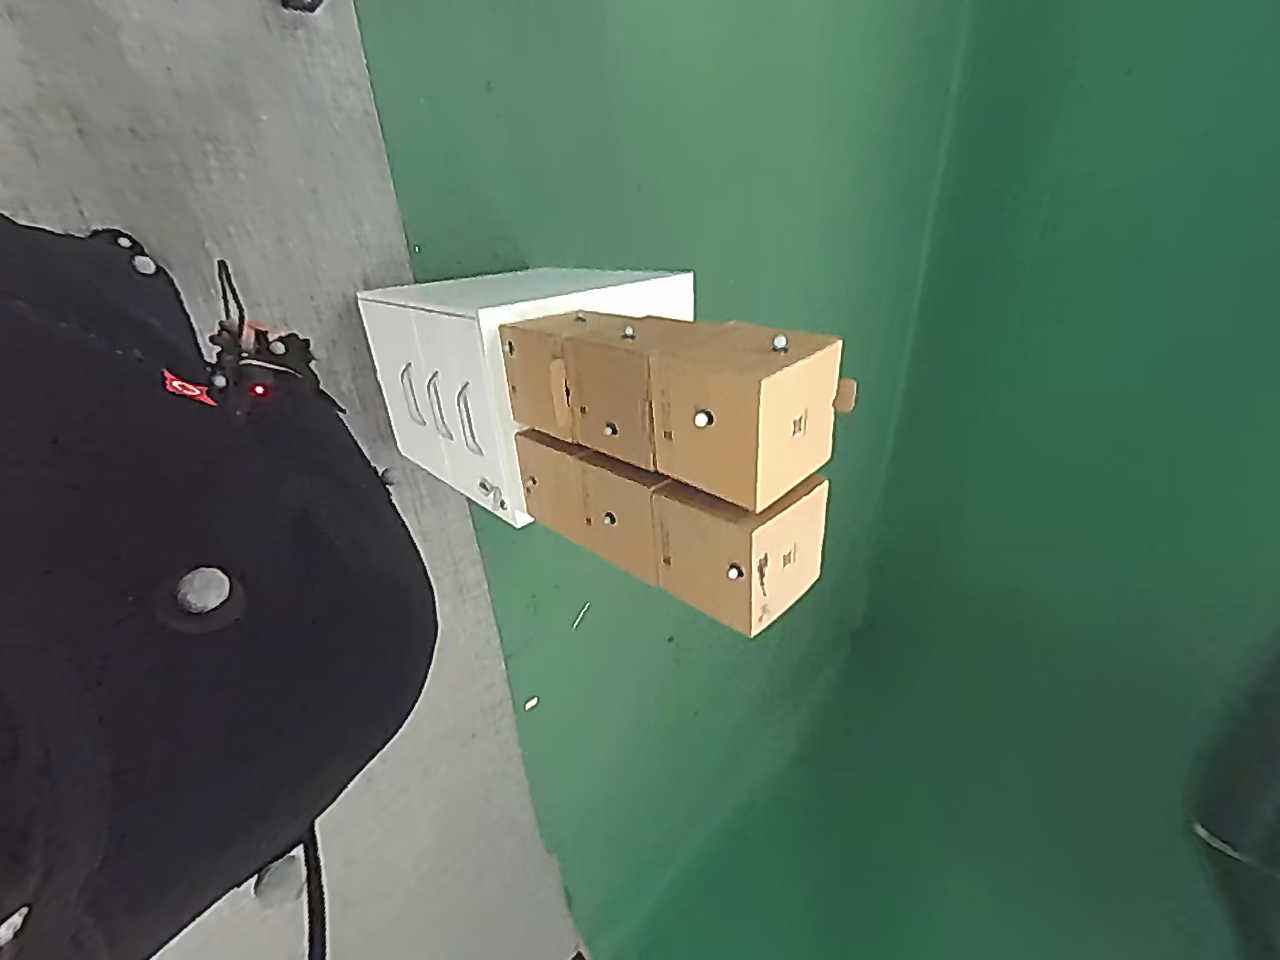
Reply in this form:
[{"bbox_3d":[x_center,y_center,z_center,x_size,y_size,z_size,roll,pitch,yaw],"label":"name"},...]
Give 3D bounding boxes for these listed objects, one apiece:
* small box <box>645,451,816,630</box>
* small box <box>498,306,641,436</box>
[{"bbox_3d":[0.127,0.072,0.773,0.179,0.176,0.168,-28,125,-38],"label":"small box"},{"bbox_3d":[-0.119,-0.189,0.897,0.179,0.176,0.168,-27,126,-39],"label":"small box"}]
